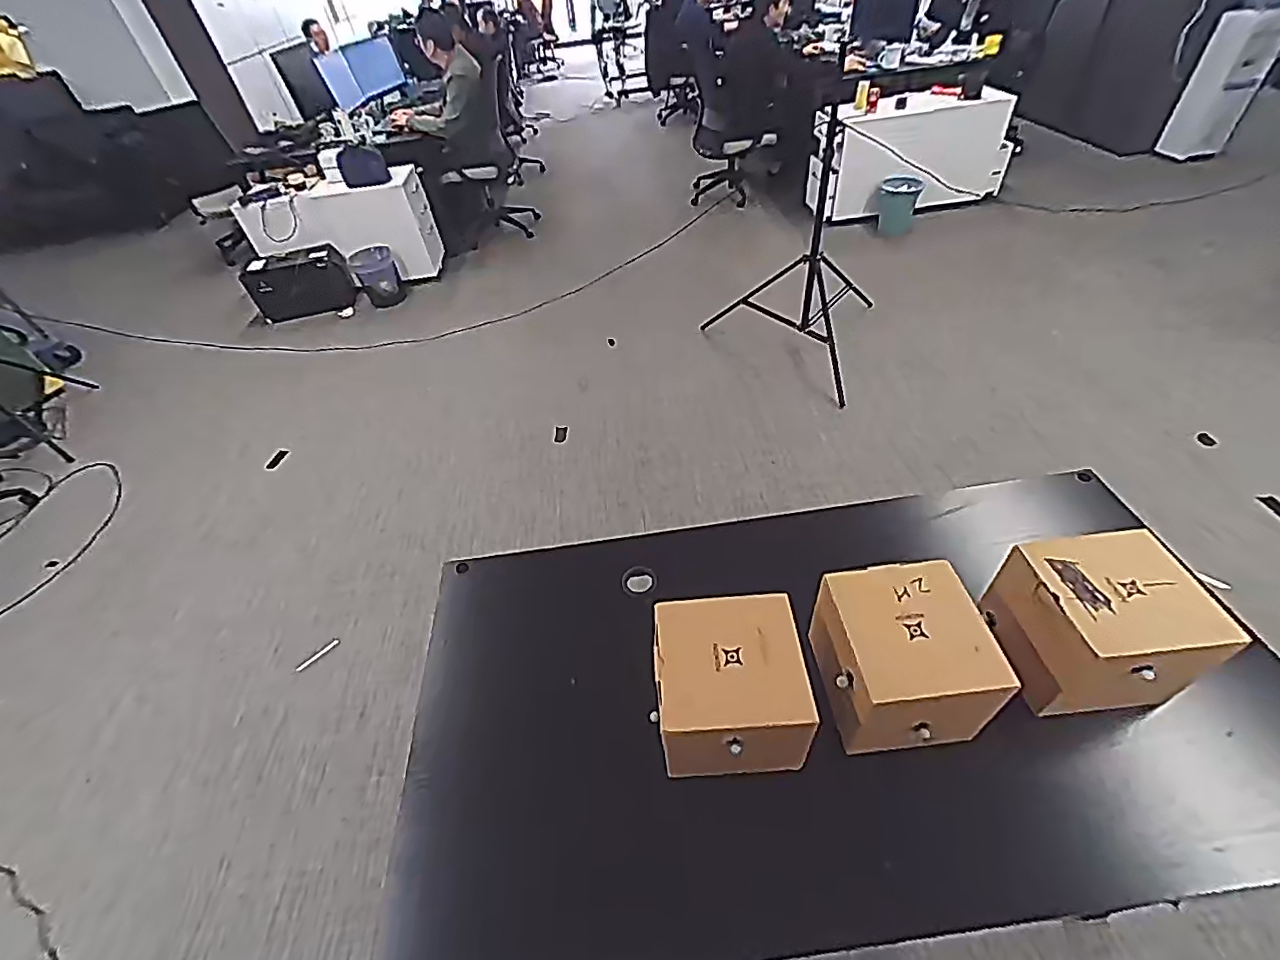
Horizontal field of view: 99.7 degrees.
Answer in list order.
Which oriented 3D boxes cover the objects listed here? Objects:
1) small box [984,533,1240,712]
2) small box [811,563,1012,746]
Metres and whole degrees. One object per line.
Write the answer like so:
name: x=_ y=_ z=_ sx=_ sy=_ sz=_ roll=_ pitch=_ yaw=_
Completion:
small box: x=0.597 y=0.194 z=0.723 sx=0.179 sy=0.176 sz=0.168 roll=-6 pitch=45 yaw=1
small box: x=0.339 y=0.237 z=0.718 sx=0.168 sy=0.176 sz=0.179 roll=-7 pitch=45 yaw=1
